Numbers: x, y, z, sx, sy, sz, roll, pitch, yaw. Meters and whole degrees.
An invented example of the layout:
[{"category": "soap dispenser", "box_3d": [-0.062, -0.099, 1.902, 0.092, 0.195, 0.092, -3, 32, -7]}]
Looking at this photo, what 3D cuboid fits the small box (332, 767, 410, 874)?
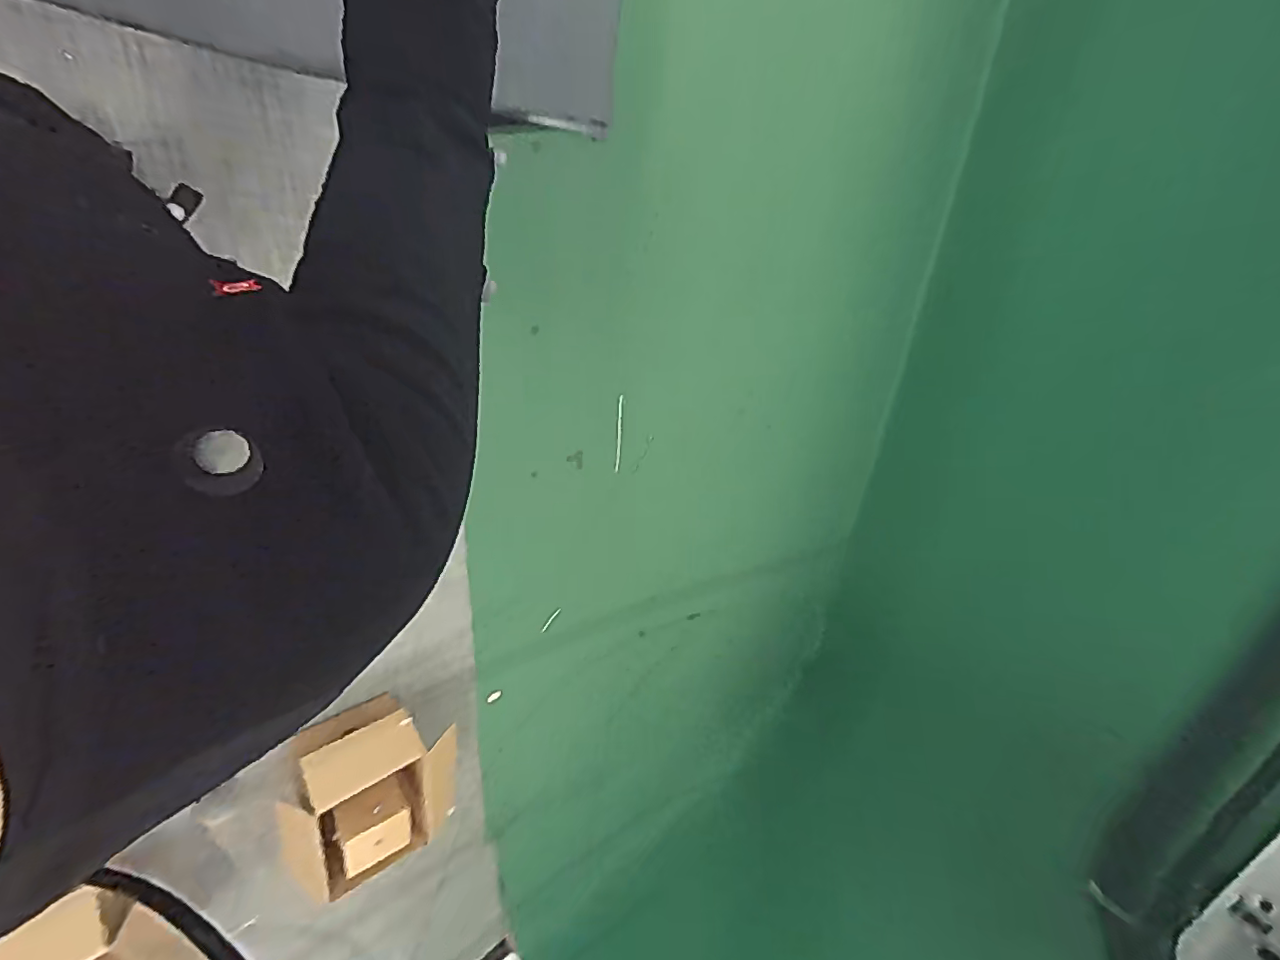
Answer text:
[{"category": "small box", "box_3d": [-0.817, 1.022, 1.636, 0.179, 0.176, 0.168, -13, 121, -41]}]
